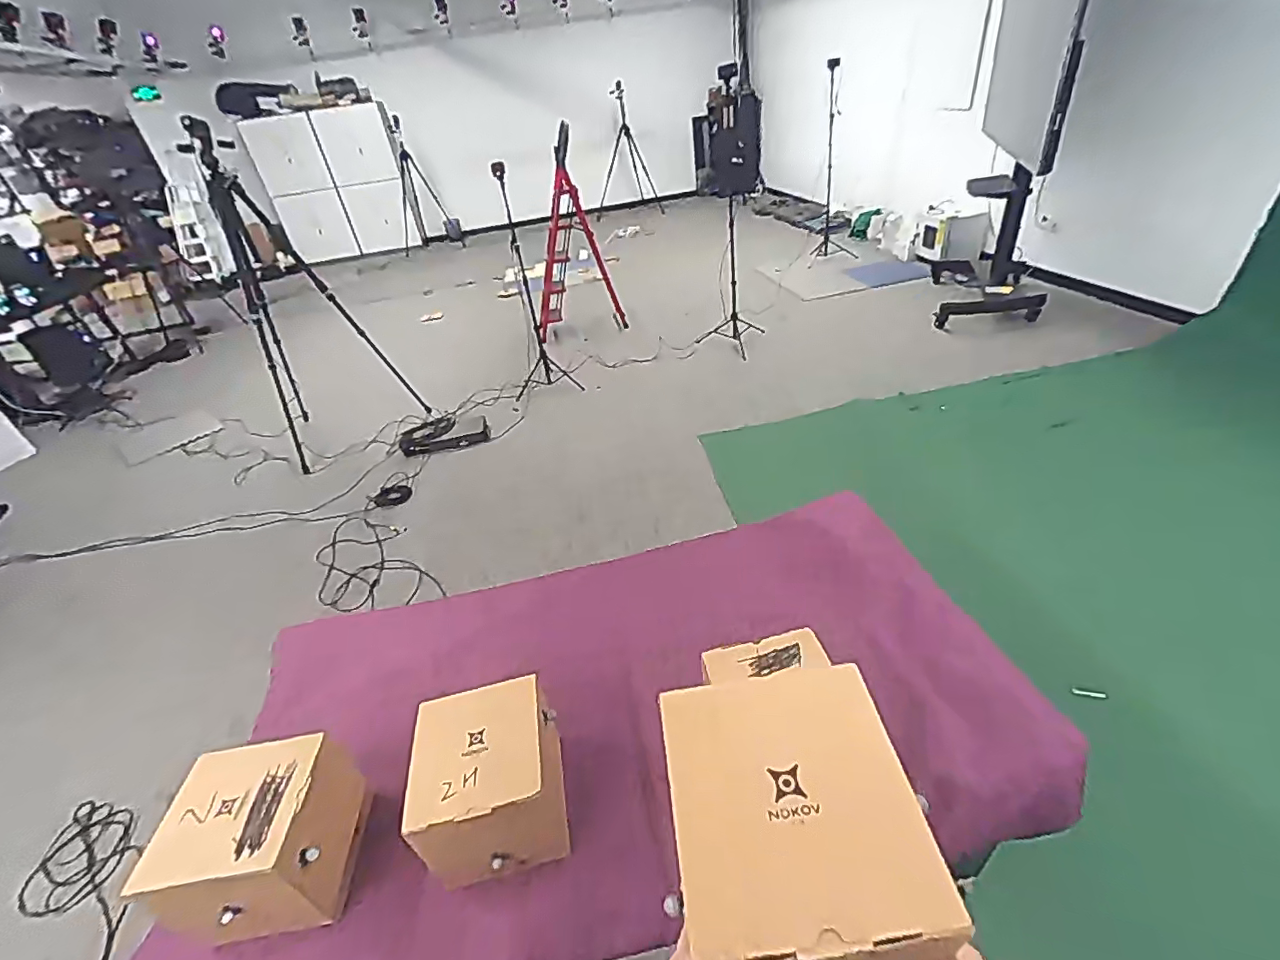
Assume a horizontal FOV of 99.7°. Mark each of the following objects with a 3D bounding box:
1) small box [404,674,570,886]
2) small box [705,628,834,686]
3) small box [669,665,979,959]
[{"bbox_3d":[-0.198,0.404,0.738,0.168,0.176,0.179,-13,34,-6],"label":"small box"},{"bbox_3d":[0.192,0.340,0.748,0.168,0.176,0.179,-12,36,-4],"label":"small box"},{"bbox_3d":[0.118,0.278,0.426,0.168,0.176,0.179,-9,39,1],"label":"small box"}]
